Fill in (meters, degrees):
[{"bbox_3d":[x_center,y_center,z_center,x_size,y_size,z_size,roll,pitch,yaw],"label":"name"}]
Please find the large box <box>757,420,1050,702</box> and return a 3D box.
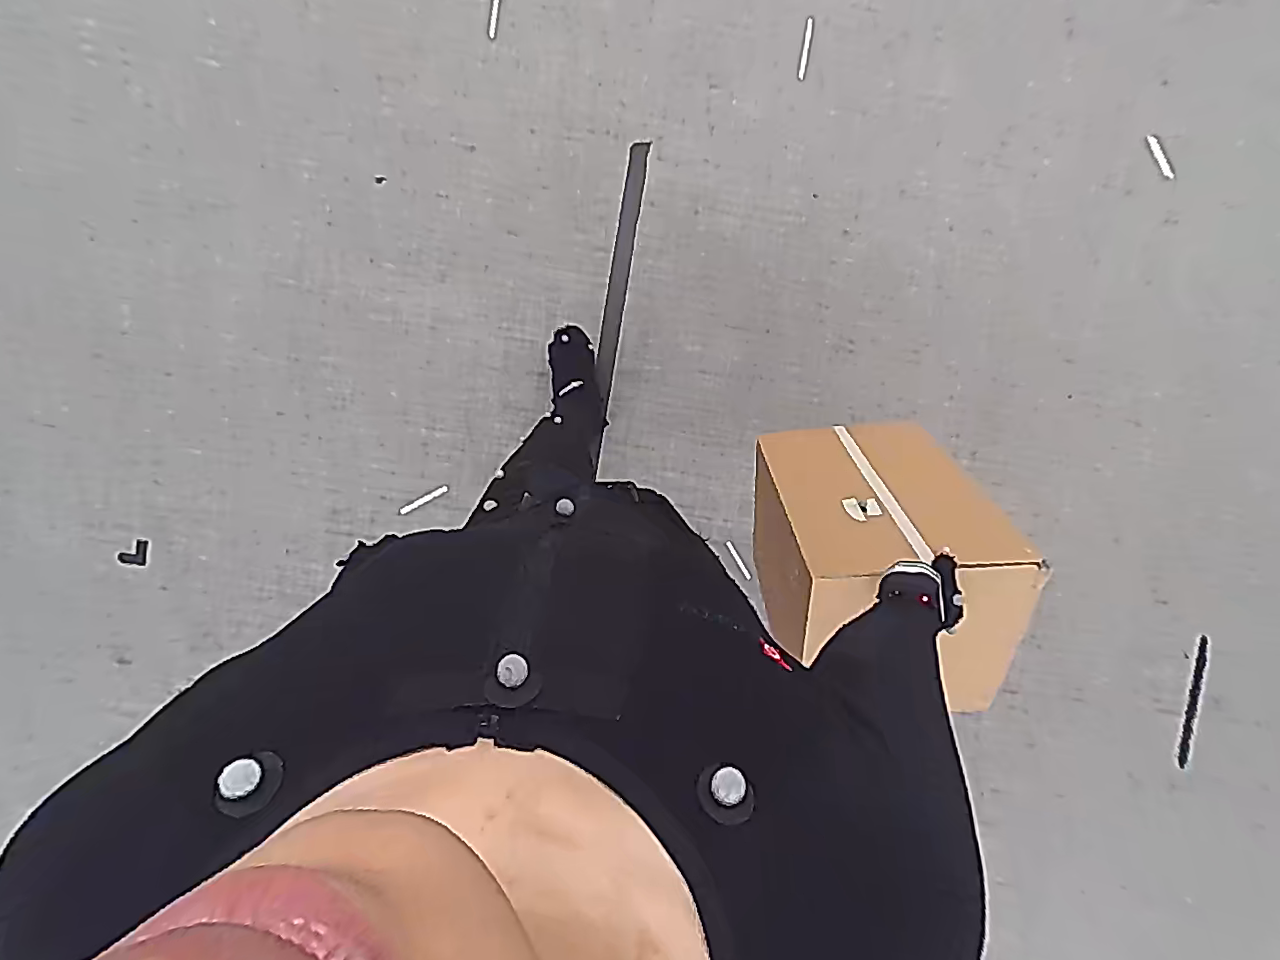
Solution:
[{"bbox_3d":[0.404,0.128,0.969,0.320,0.408,0.320,-4,125,3],"label":"large box"}]
